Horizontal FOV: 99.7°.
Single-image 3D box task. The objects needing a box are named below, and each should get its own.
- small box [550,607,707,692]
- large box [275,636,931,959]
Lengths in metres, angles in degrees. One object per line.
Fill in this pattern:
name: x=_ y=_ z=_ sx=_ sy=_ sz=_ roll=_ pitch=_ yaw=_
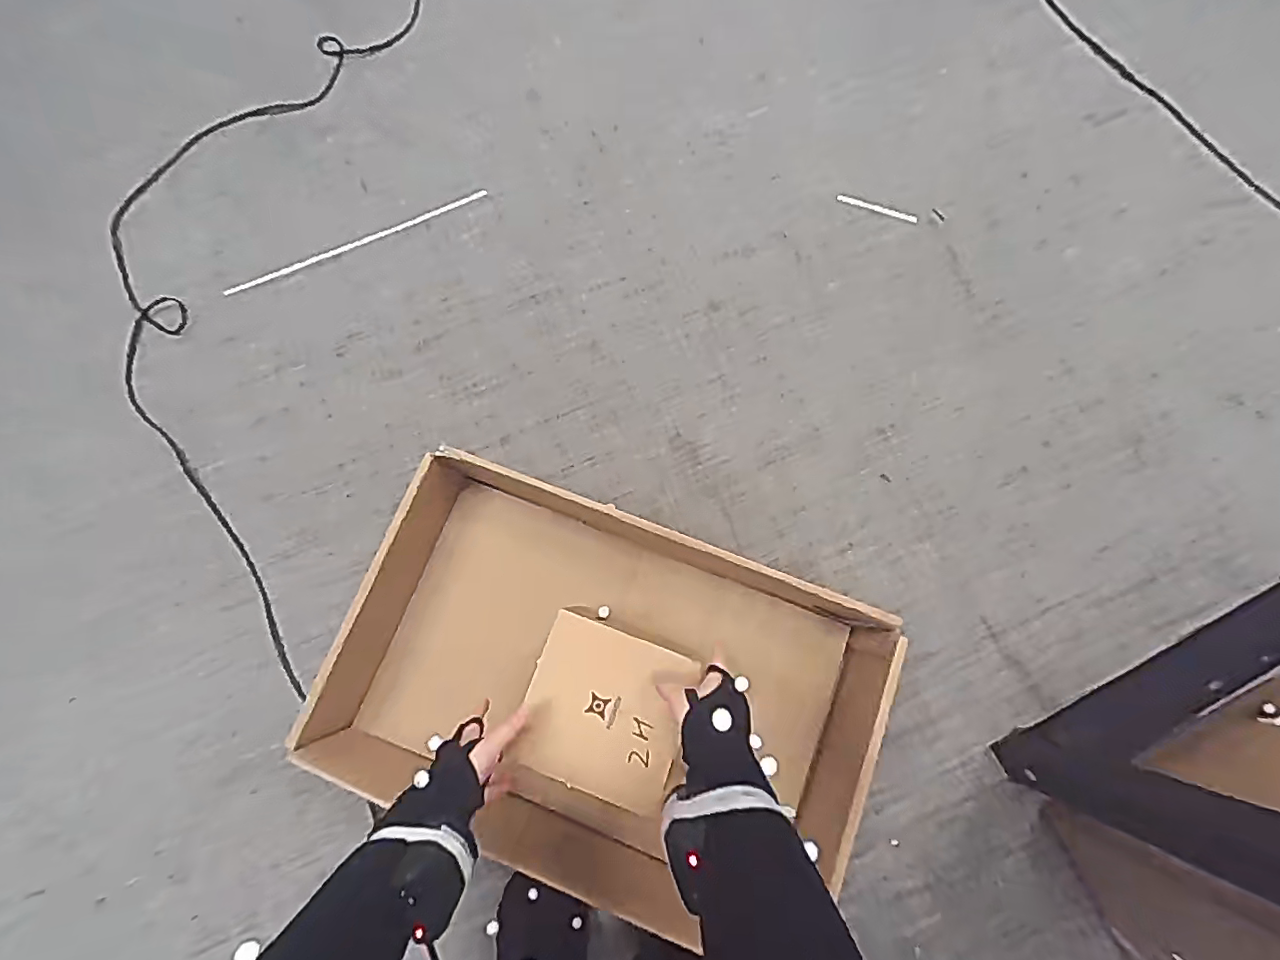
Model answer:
small box: x=-0.032 y=0.264 z=0.657 sx=0.179 sy=0.176 sz=0.168 roll=20 pitch=80 yaw=7
large box: x=0.008 y=0.383 z=0.460 sx=0.320 sy=0.408 sz=0.320 roll=-50 pitch=53 yaw=-2
